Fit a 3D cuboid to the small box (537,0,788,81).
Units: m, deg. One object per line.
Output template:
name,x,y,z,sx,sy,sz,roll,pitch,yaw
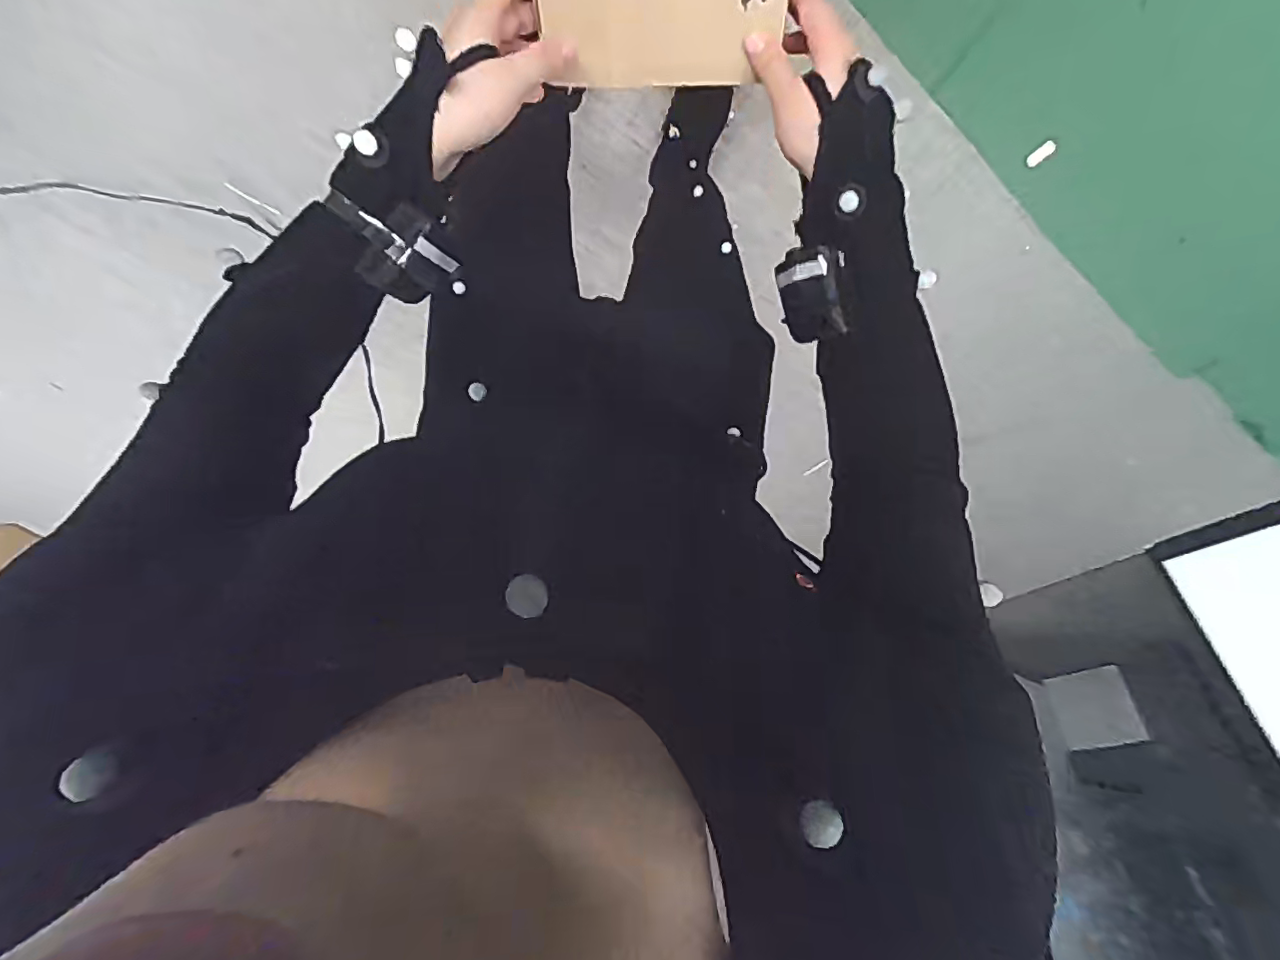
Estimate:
small box,0.022,-0.411,0.392,0.179,0.176,0.168,3,140,7
